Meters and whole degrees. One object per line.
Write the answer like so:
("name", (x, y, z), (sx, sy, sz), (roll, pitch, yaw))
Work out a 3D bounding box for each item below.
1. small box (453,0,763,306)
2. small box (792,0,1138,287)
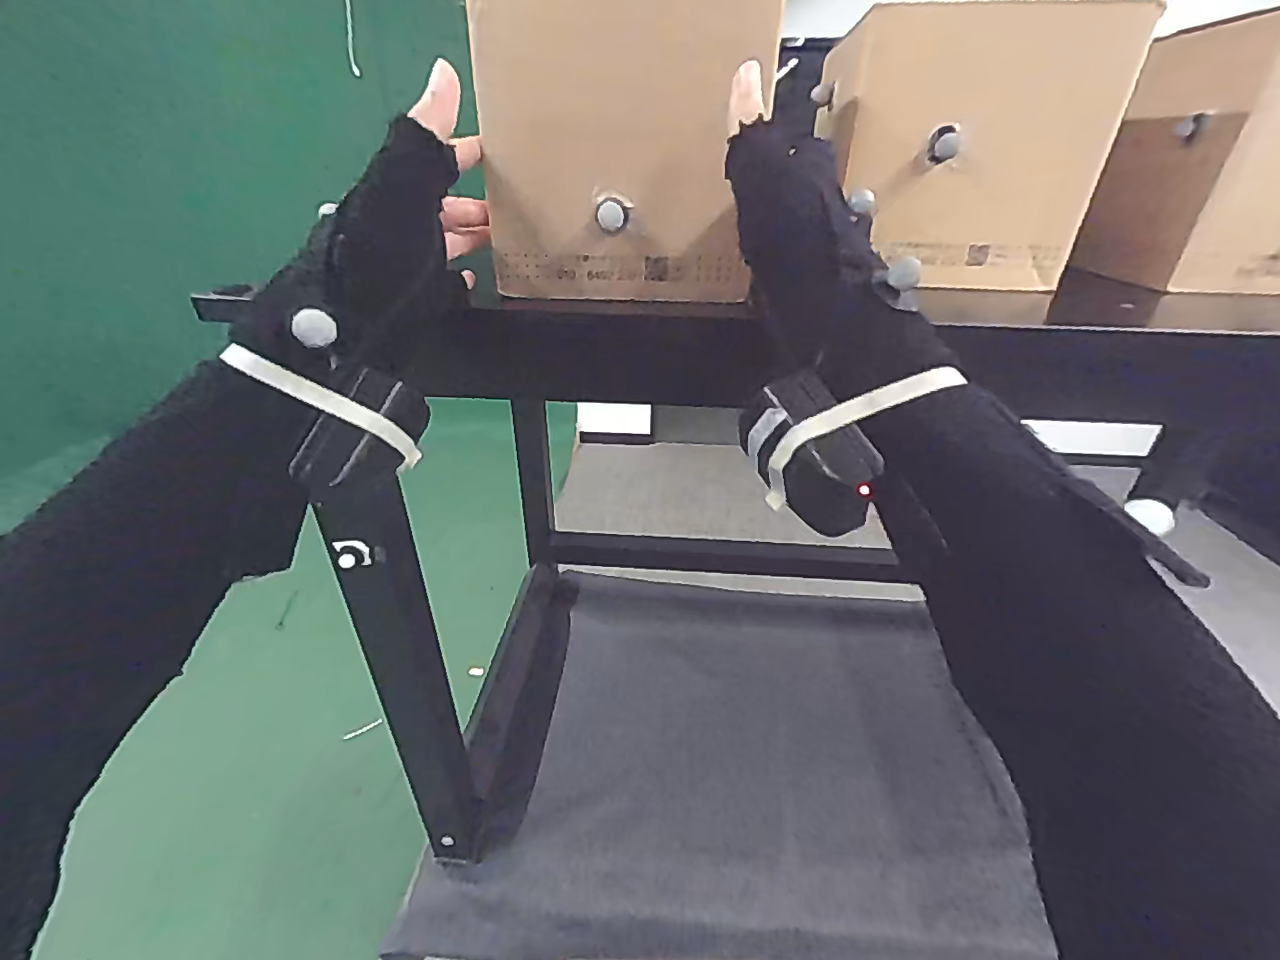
("small box", (-0.016, -0.229, 0.381), (0.168, 0.176, 0.179), (2, 31, 2))
("small box", (0.222, -0.254, 0.431), (0.168, 0.176, 0.179), (3, 30, 6))
